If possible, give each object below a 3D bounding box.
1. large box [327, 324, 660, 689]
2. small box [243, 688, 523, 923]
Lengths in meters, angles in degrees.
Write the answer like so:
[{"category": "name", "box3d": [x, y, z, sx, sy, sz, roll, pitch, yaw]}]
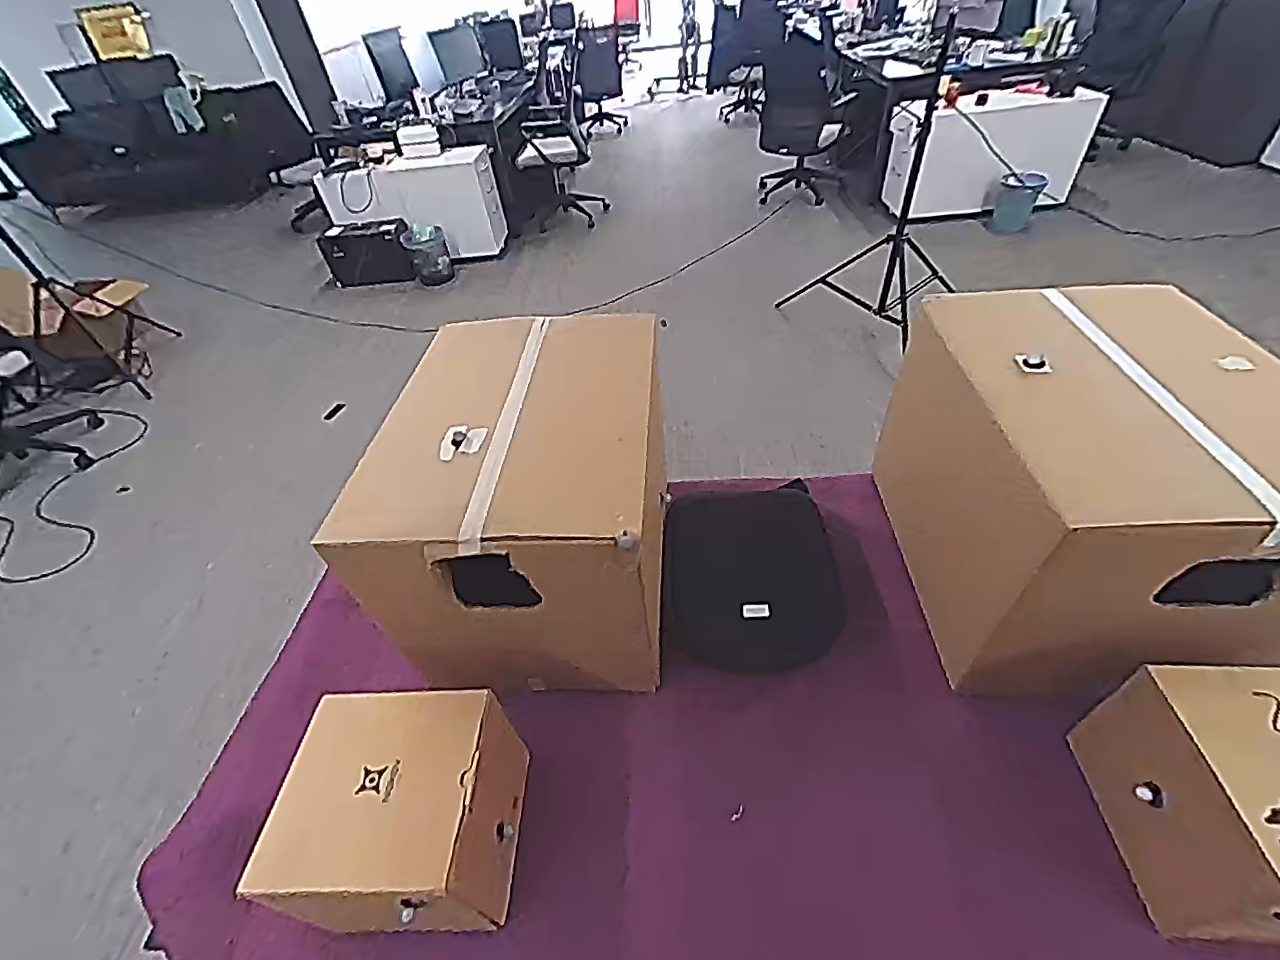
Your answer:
[{"category": "large box", "box3d": [-0.133, 0.030, 0.744, 0.320, 0.320, 0.408, -3, 47, 6]}, {"category": "small box", "box3d": [-0.233, 0.331, 0.548, 0.179, 0.176, 0.168, -4, 43, 3]}]
